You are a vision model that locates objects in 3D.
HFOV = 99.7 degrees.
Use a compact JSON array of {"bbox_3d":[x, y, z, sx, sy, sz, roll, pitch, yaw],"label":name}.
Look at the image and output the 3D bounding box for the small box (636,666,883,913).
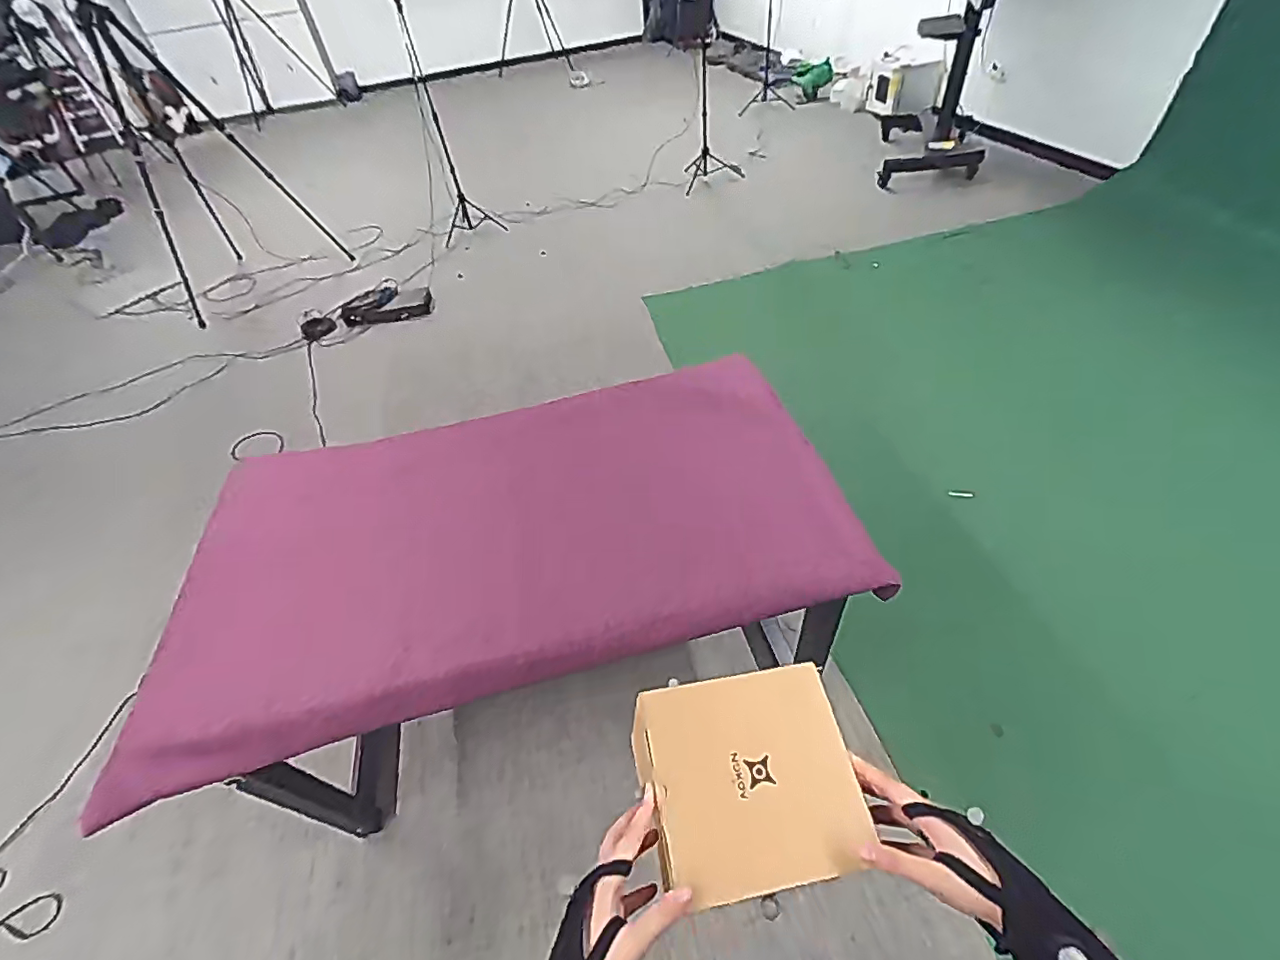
[{"bbox_3d":[0.095,0.302,0.531,0.179,0.176,0.168,-8,53,-7],"label":"small box"}]
